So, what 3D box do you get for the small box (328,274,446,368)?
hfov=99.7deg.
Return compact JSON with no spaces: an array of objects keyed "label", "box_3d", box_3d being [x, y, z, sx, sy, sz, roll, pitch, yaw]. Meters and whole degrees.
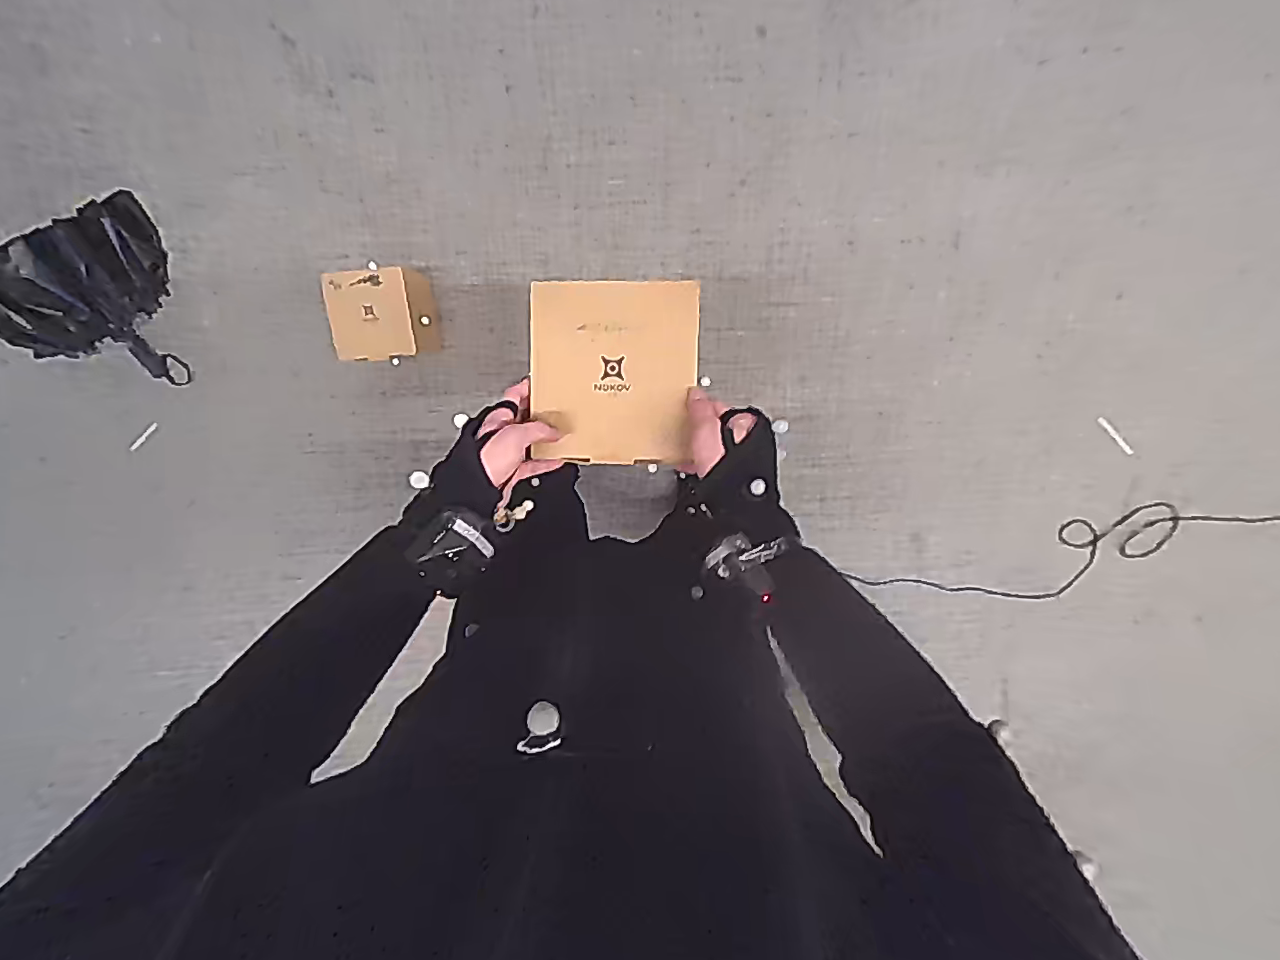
[{"label":"small box","box_3d":[-0.545,-0.349,1.192,0.168,0.176,0.179,-6,105,0]}]
